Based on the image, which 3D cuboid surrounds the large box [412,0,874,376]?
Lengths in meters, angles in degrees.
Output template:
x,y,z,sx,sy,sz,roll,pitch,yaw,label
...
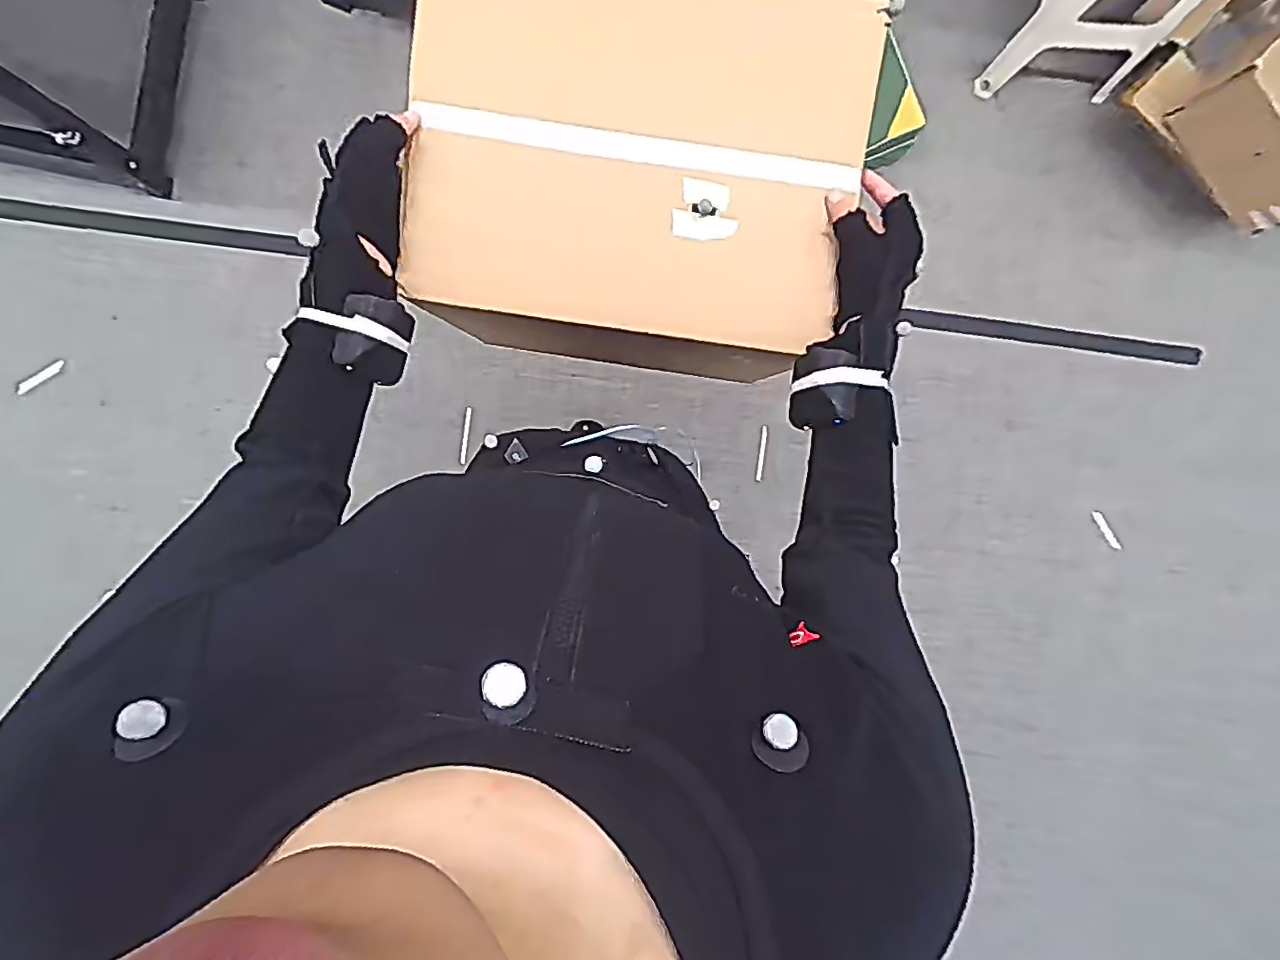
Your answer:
x,y,z,sx,sy,sz,roll,pitch,yaw,label
-0.007,-0.315,0.647,0.408,0.320,0.320,8,97,-3,large box
